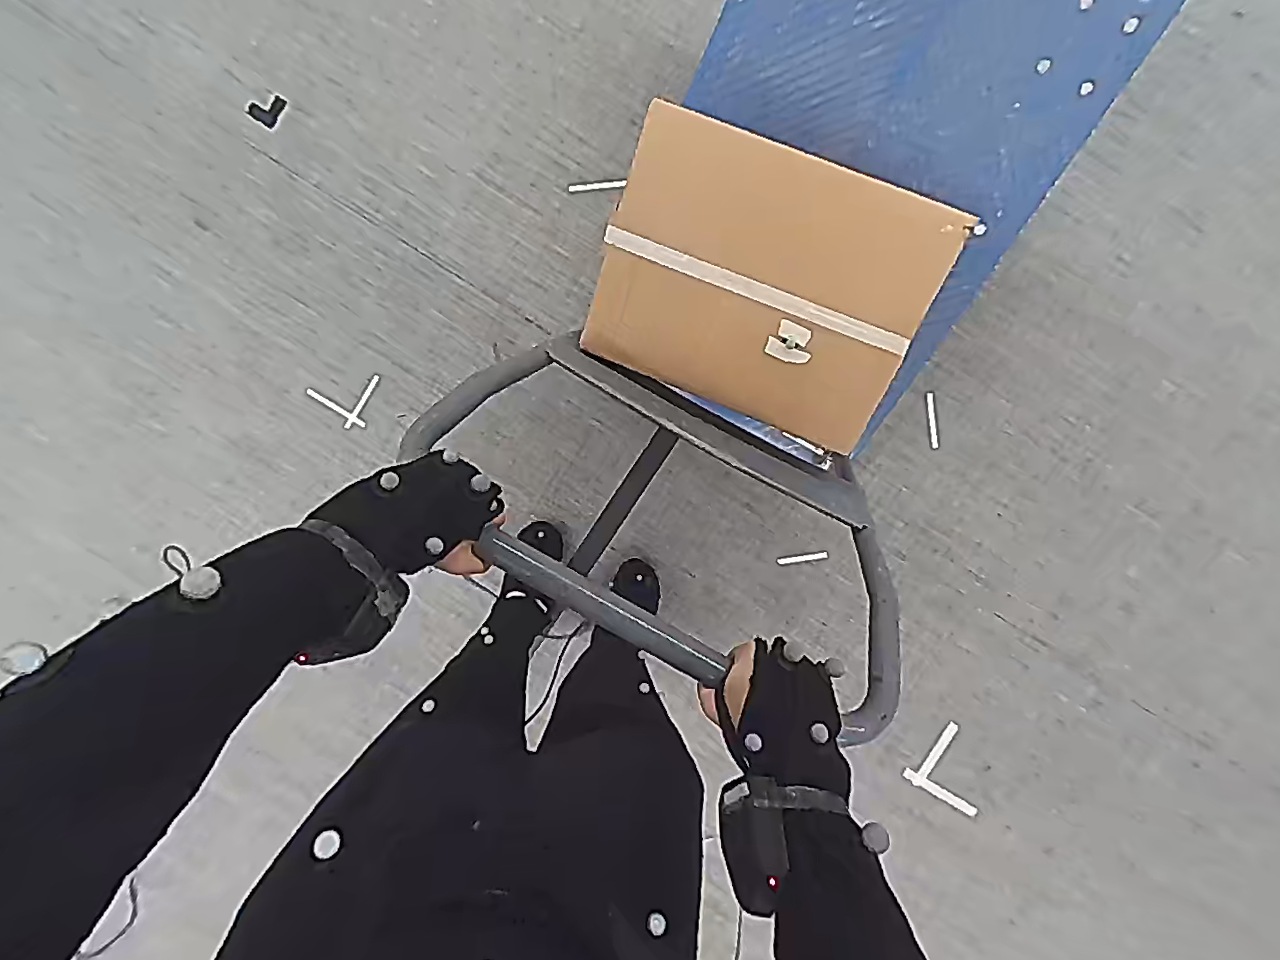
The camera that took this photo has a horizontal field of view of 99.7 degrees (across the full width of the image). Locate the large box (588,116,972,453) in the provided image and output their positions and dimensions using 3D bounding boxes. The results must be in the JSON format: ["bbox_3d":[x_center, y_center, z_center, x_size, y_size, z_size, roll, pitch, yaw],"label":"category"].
[{"bbox_3d":[0.182,-0.287,0.833,0.408,0.320,0.320,22,113,3],"label":"large box"}]
